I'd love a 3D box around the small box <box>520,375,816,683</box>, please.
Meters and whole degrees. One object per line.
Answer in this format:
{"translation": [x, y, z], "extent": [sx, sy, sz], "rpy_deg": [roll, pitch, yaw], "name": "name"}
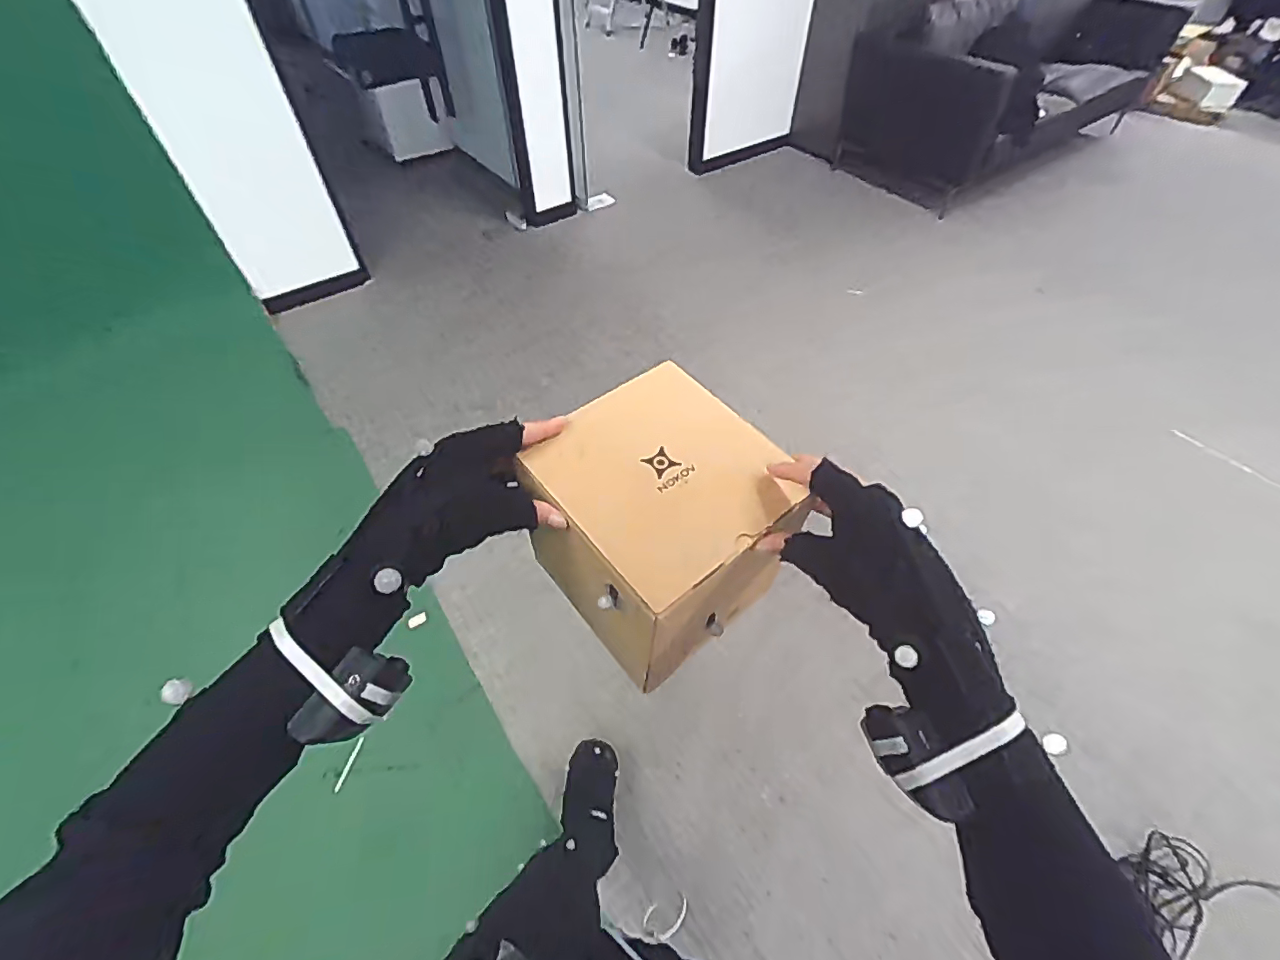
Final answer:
{"translation": [0.016, 0.045, 0.481], "extent": [0.168, 0.176, 0.179], "rpy_deg": [-33, 61, -24], "name": "small box"}
